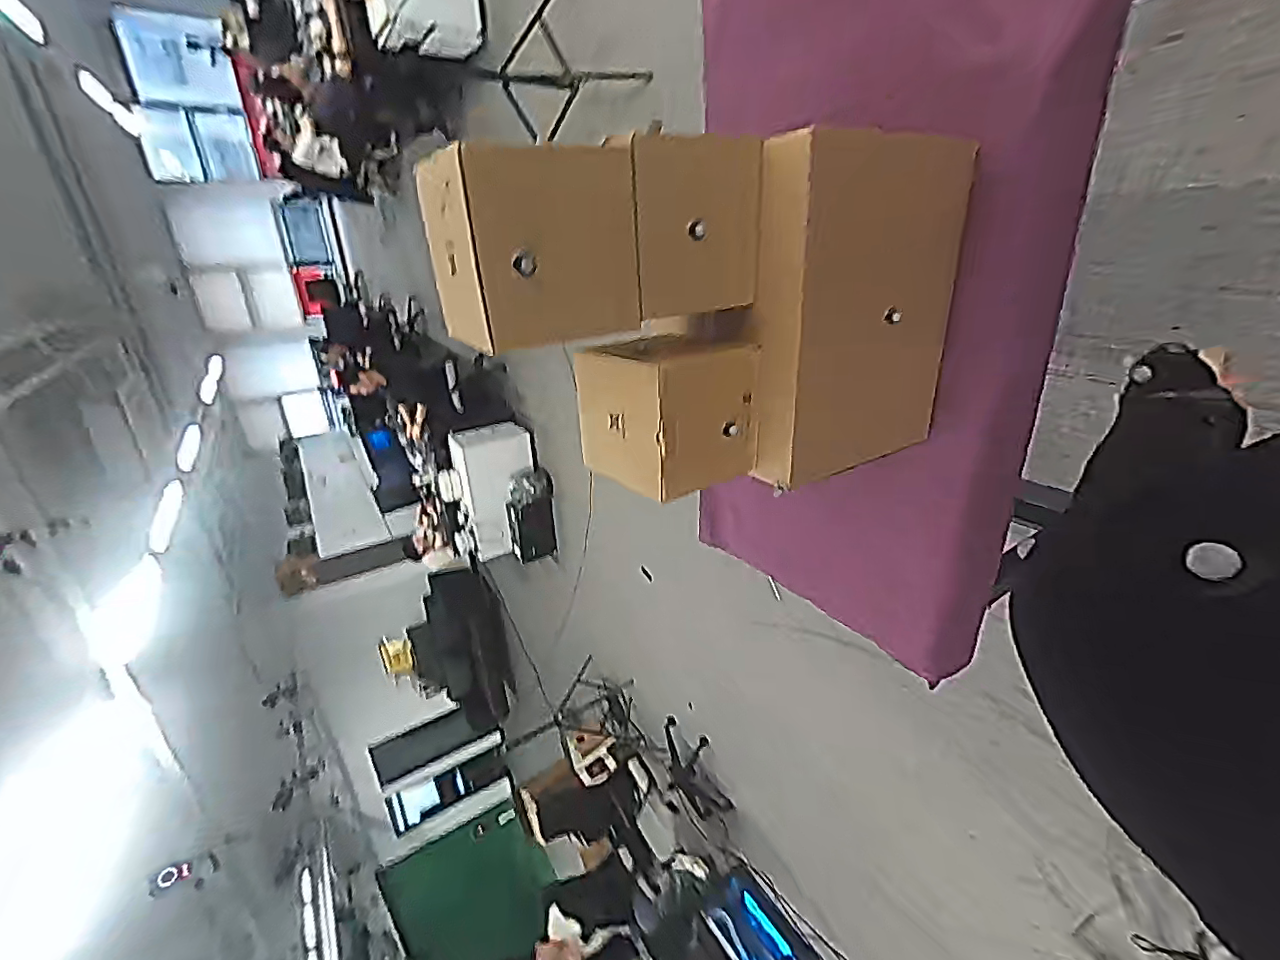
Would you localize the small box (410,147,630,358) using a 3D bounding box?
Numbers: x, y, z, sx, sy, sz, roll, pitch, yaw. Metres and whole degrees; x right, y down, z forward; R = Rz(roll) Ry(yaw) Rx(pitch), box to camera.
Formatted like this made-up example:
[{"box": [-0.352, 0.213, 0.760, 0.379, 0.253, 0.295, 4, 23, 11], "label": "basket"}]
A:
[{"box": [-0.121, -0.240, 0.568, 0.168, 0.176, 0.179, 32, 132, 51], "label": "small box"}]
